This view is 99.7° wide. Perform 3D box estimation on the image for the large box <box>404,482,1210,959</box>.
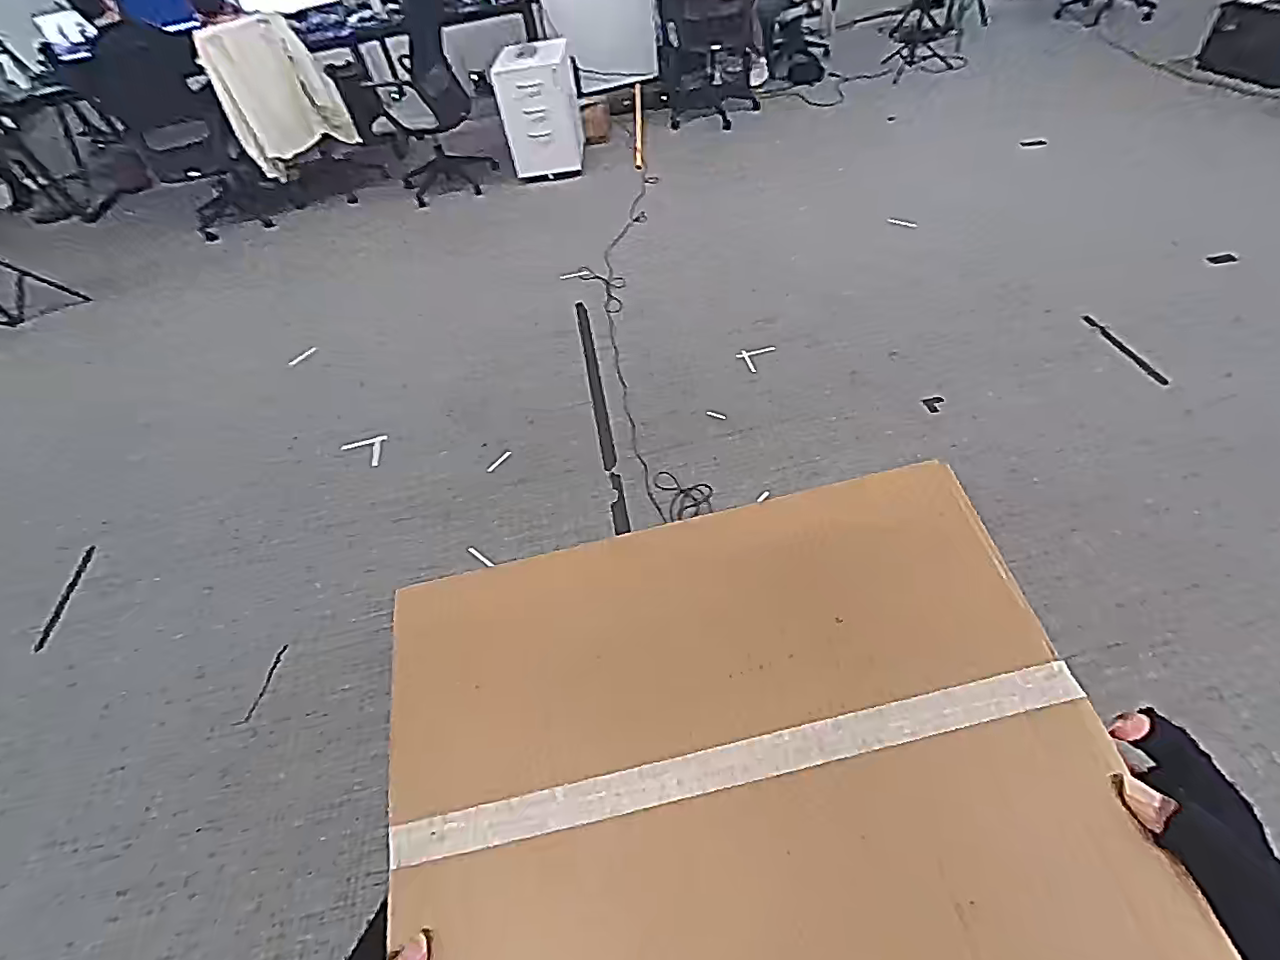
[{"bbox_3d":[0.075,0.247,0.447,0.408,0.320,0.320,-14,59,0],"label":"large box"}]
